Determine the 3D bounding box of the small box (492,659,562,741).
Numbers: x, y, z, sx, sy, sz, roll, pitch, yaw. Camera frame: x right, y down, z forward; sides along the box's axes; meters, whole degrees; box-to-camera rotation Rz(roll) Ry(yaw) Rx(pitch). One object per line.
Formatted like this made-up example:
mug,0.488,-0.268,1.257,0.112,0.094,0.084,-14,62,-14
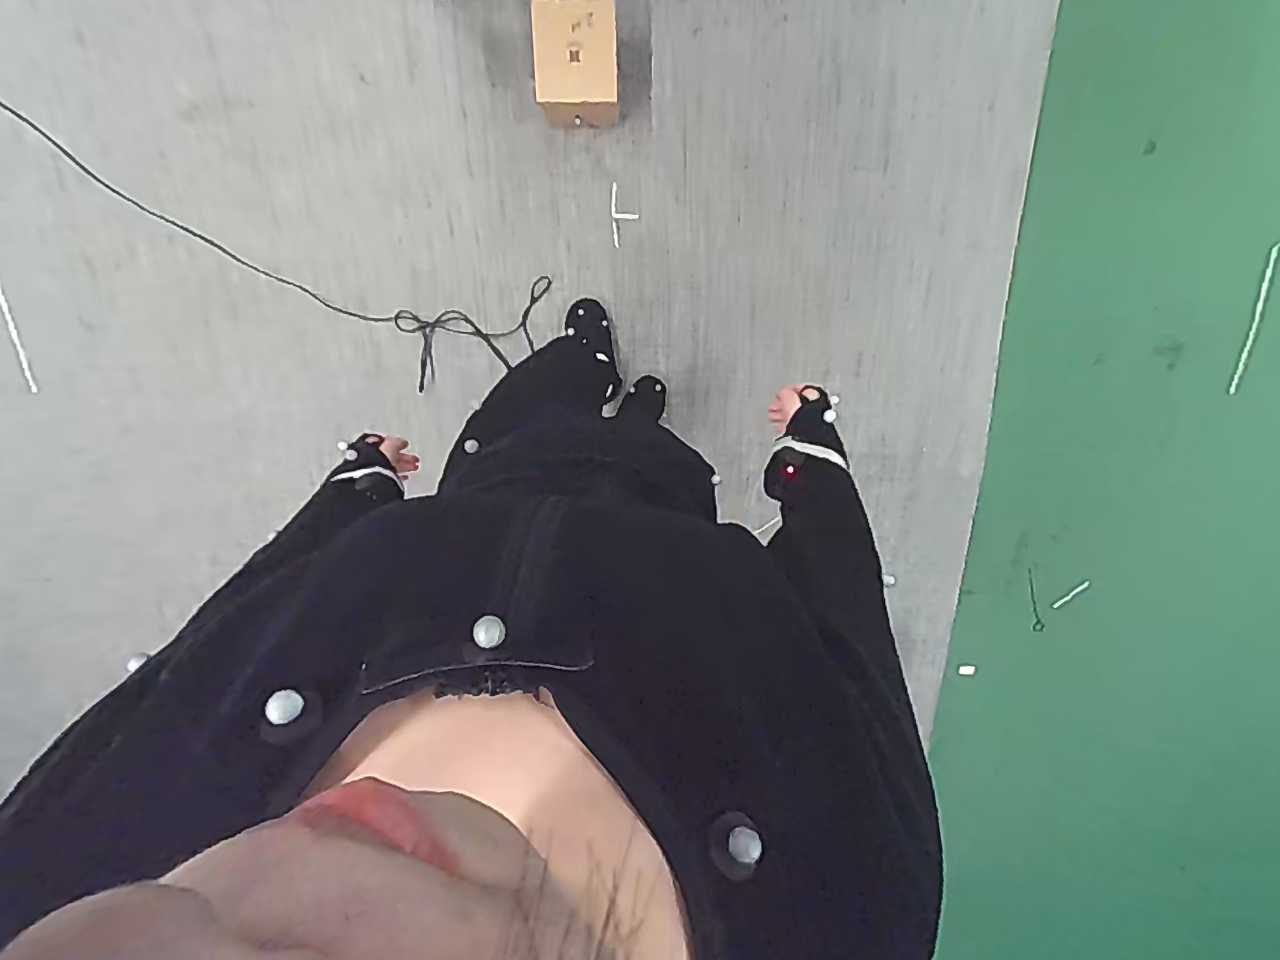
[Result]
small box,-0.329,0.650,1.612,0.179,0.176,0.168,-2,107,1
